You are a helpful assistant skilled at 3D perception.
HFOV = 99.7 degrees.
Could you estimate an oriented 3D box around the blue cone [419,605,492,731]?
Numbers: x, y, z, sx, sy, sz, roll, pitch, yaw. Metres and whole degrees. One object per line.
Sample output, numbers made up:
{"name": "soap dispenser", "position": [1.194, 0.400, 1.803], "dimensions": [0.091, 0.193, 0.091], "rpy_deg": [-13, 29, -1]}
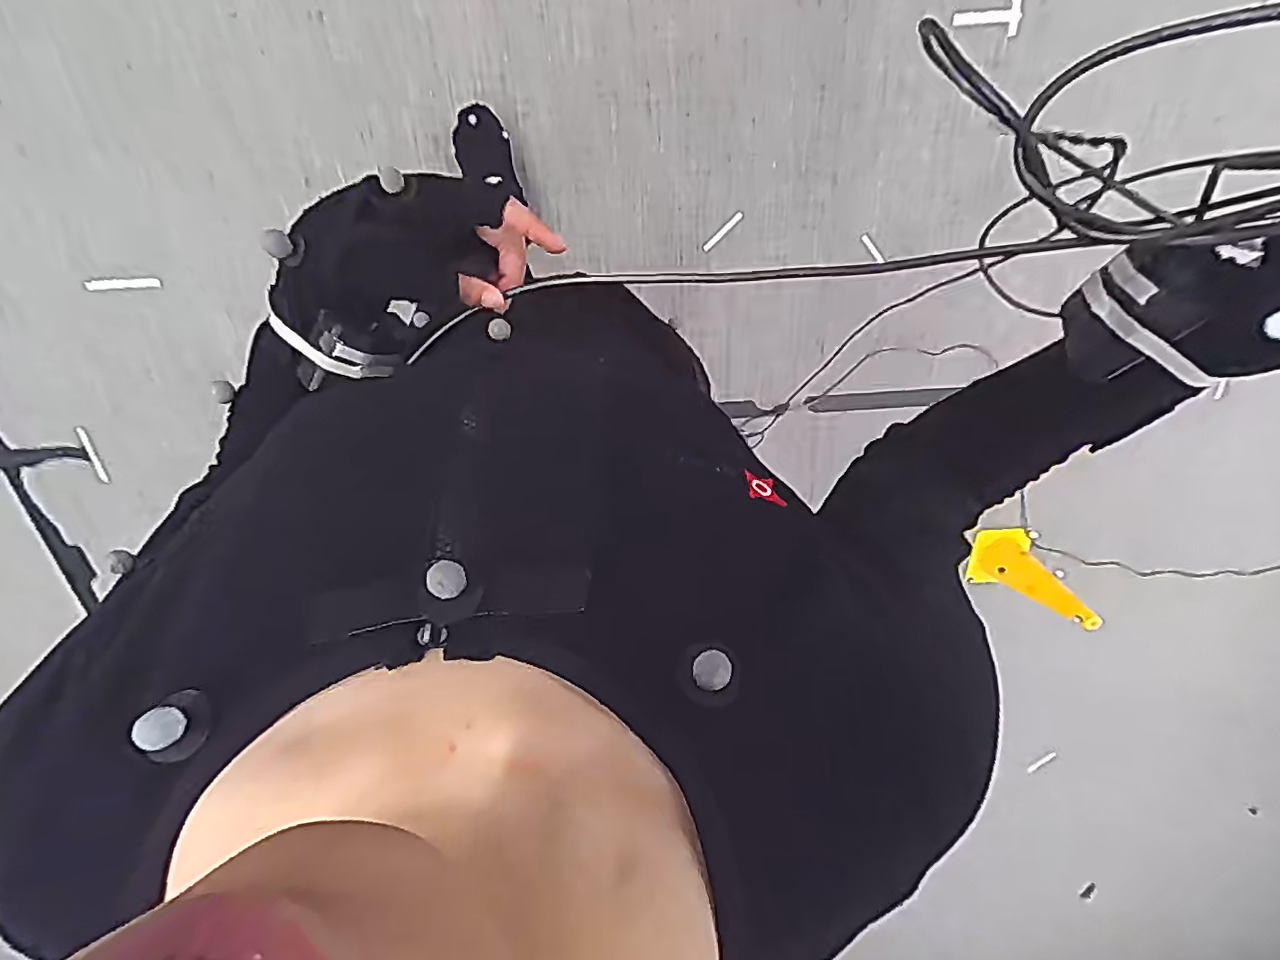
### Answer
{"name": "blue cone", "position": [-0.540, 0.536, 1.494], "dimensions": [0.193, 0.380, 0.192], "rpy_deg": [-10, 114, -3]}
